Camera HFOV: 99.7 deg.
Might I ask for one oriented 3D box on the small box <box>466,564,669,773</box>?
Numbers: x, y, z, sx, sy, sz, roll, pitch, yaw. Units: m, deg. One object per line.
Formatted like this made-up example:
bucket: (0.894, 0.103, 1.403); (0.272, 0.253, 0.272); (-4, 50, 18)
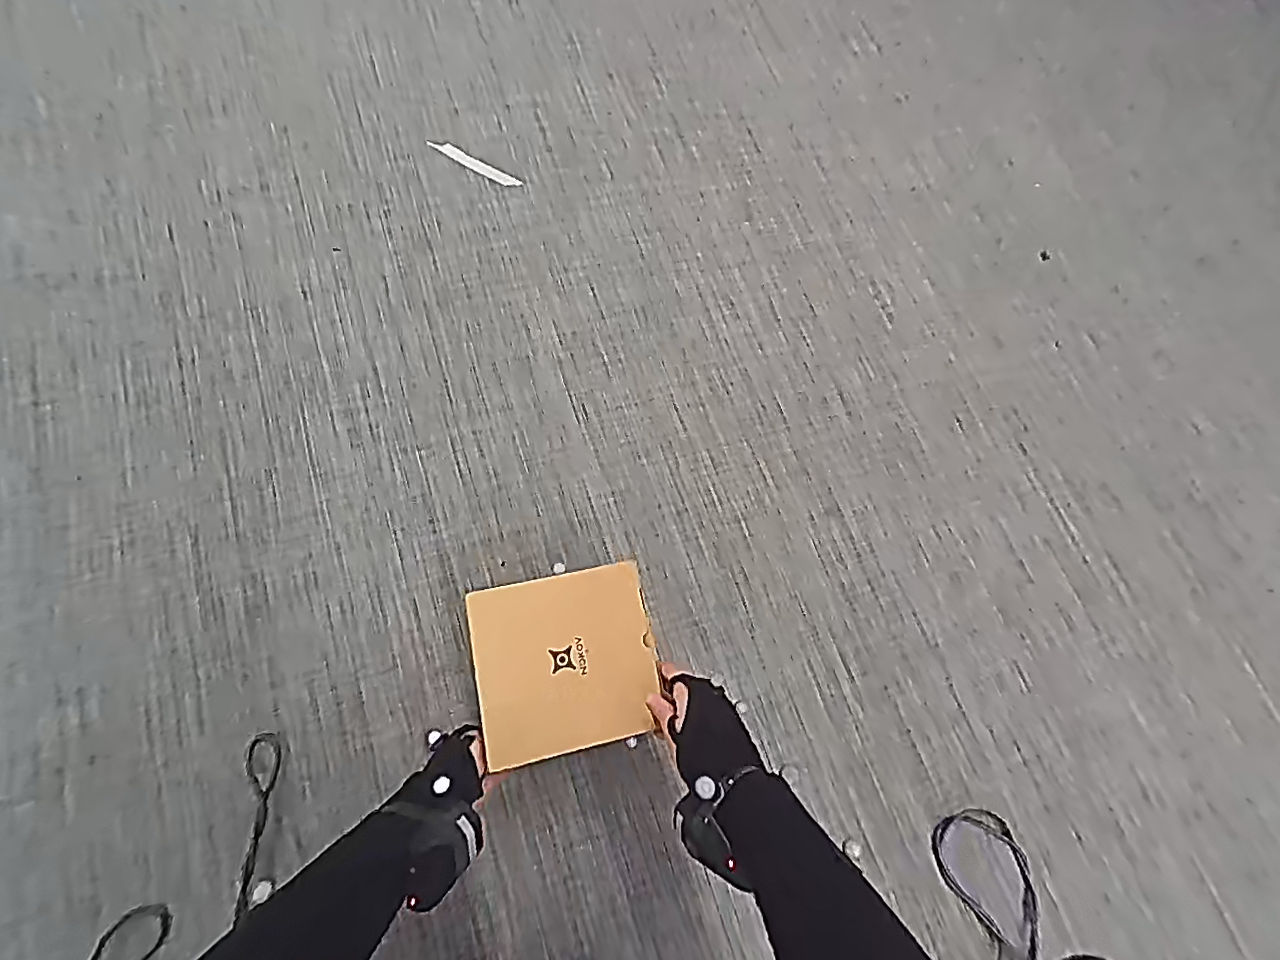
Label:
small box: (-0.081, 0.202, 0.600); (0.179, 0.176, 0.168); (-10, 74, -12)
